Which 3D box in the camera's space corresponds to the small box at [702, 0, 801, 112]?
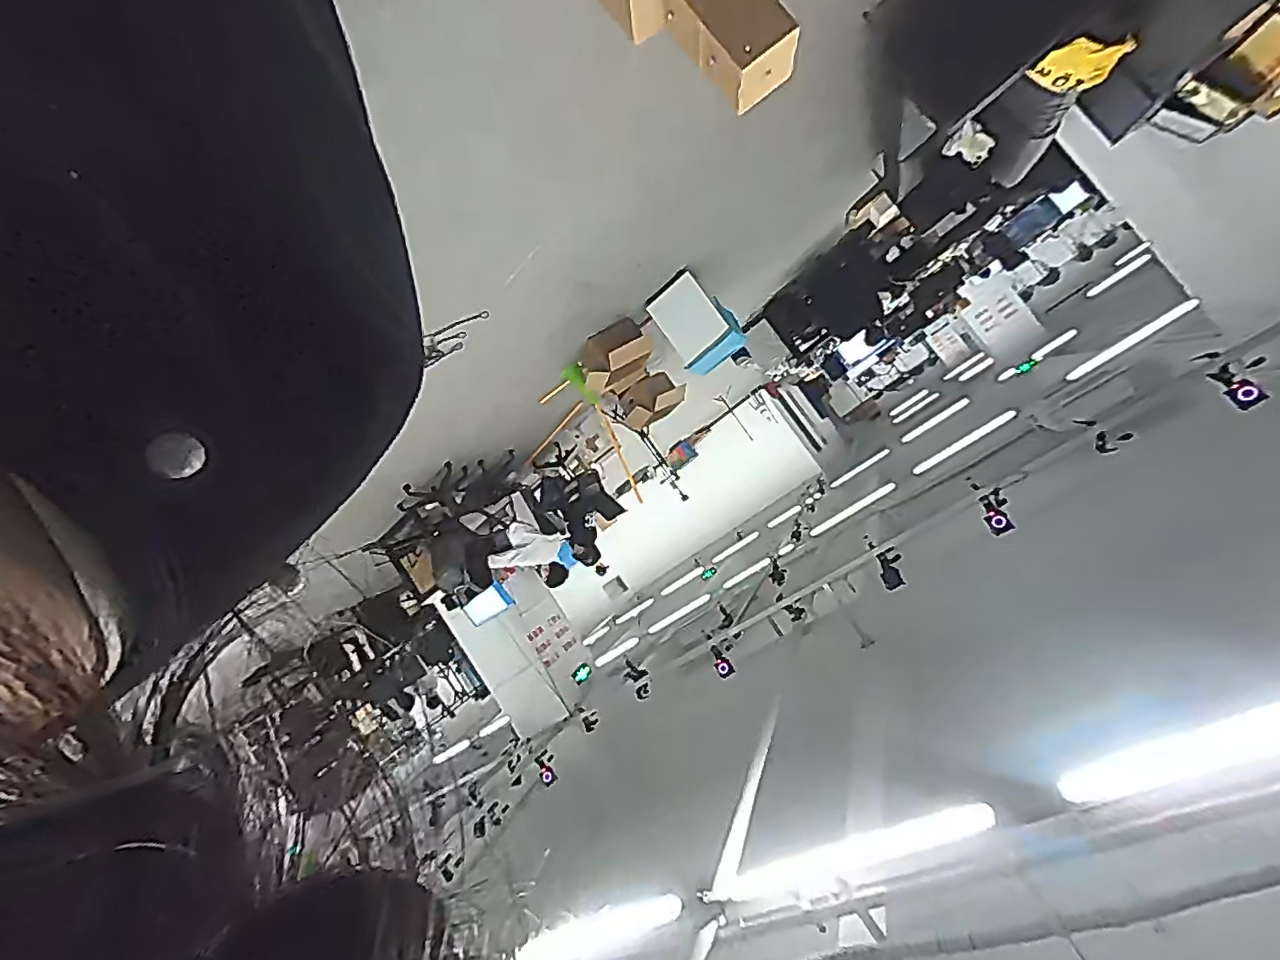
[{"bbox_3d":[0.279,-1.114,1.384,0.179,0.176,0.168,-35,175,5],"label":"small box"}]
